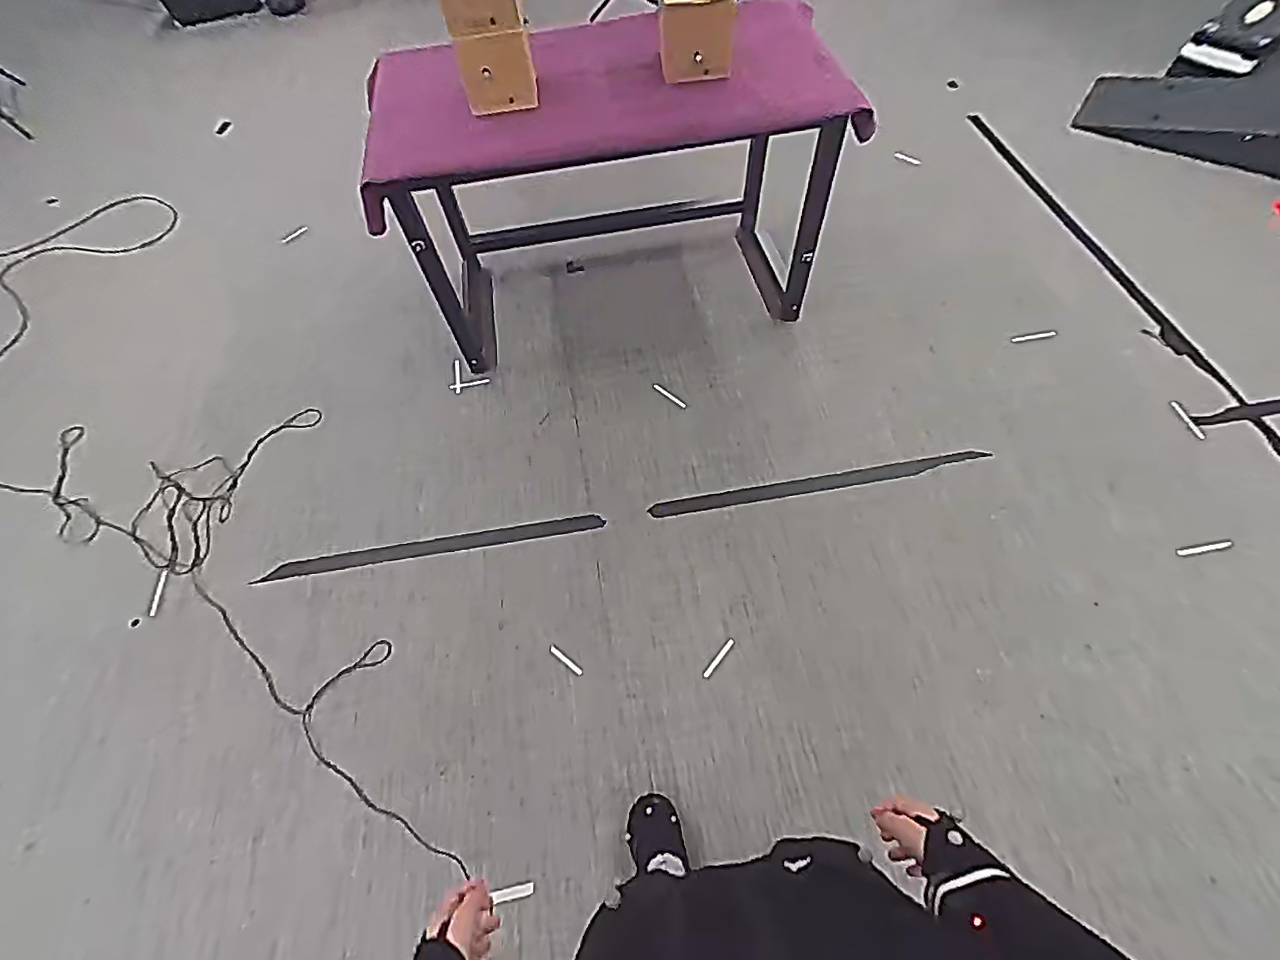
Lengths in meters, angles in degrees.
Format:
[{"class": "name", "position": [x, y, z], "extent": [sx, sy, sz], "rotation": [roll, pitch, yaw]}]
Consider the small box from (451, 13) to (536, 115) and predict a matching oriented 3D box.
[{"class": "small box", "position": [-0.358, -1.038, 1.346], "extent": [0.168, 0.176, 0.179], "rotation": [-9, 60, -1]}]

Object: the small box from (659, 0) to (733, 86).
[{"class": "small box", "position": [0.135, -1.137, 1.370], "extent": [0.168, 0.176, 0.179], "rotation": [-5, 60, 1]}]

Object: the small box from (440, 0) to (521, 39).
[{"class": "small box", "position": [-0.369, -1.124, 1.207], "extent": [0.168, 0.176, 0.179], "rotation": [-10, 59, -2]}]
